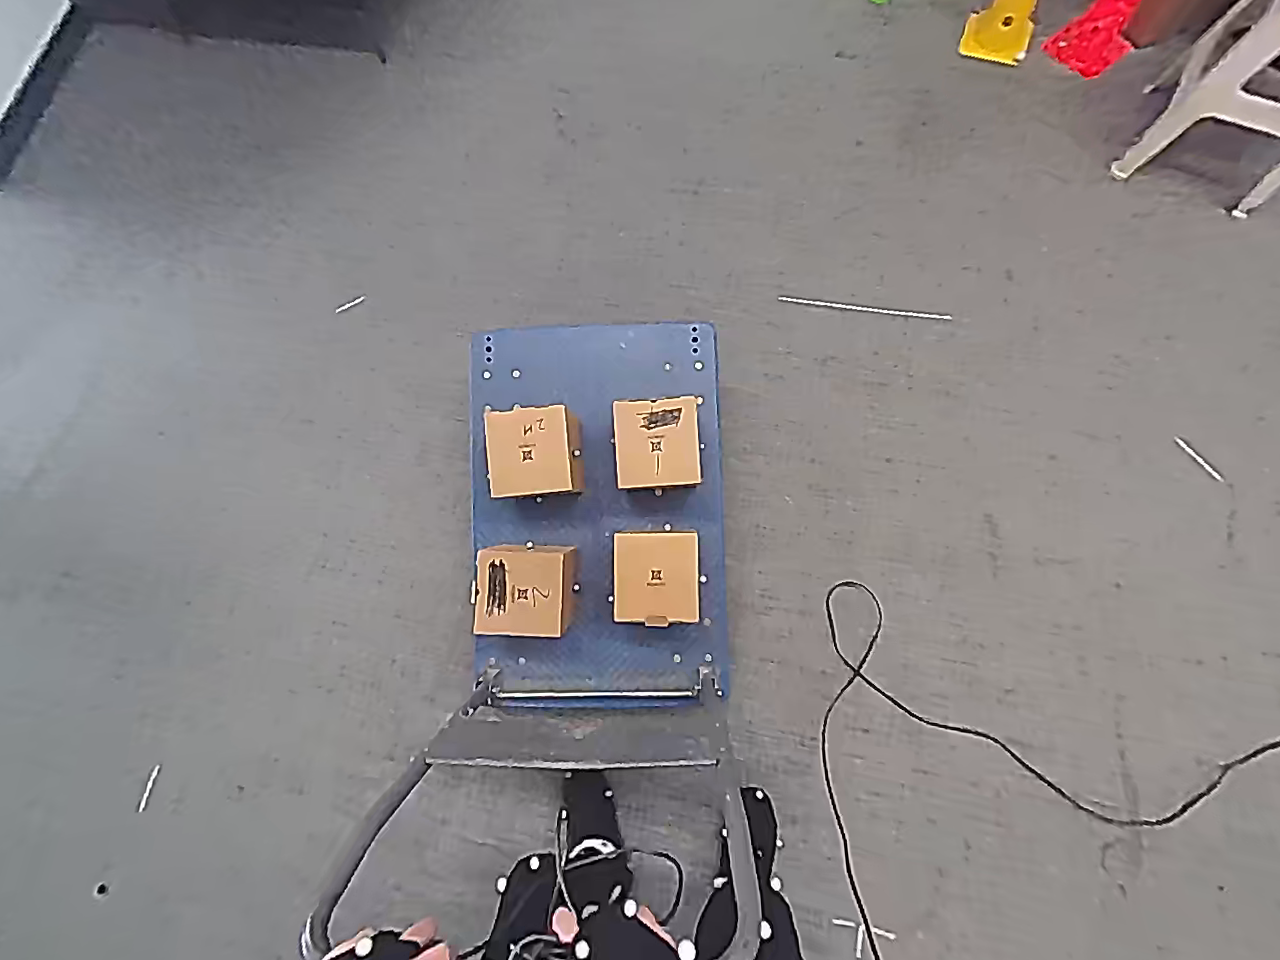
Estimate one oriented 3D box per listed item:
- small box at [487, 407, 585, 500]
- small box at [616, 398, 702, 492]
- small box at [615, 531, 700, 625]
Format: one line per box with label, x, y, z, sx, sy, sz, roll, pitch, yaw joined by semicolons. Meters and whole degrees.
small box;-0.215;-0.051;1.156;0.168;0.176;0.179;-5;87;3
small box;0.042;-0.067;1.140;0.168;0.176;0.179;-3;88;4
small box;0.038;0.196;1.129;0.168;0.176;0.179;0;88;4
